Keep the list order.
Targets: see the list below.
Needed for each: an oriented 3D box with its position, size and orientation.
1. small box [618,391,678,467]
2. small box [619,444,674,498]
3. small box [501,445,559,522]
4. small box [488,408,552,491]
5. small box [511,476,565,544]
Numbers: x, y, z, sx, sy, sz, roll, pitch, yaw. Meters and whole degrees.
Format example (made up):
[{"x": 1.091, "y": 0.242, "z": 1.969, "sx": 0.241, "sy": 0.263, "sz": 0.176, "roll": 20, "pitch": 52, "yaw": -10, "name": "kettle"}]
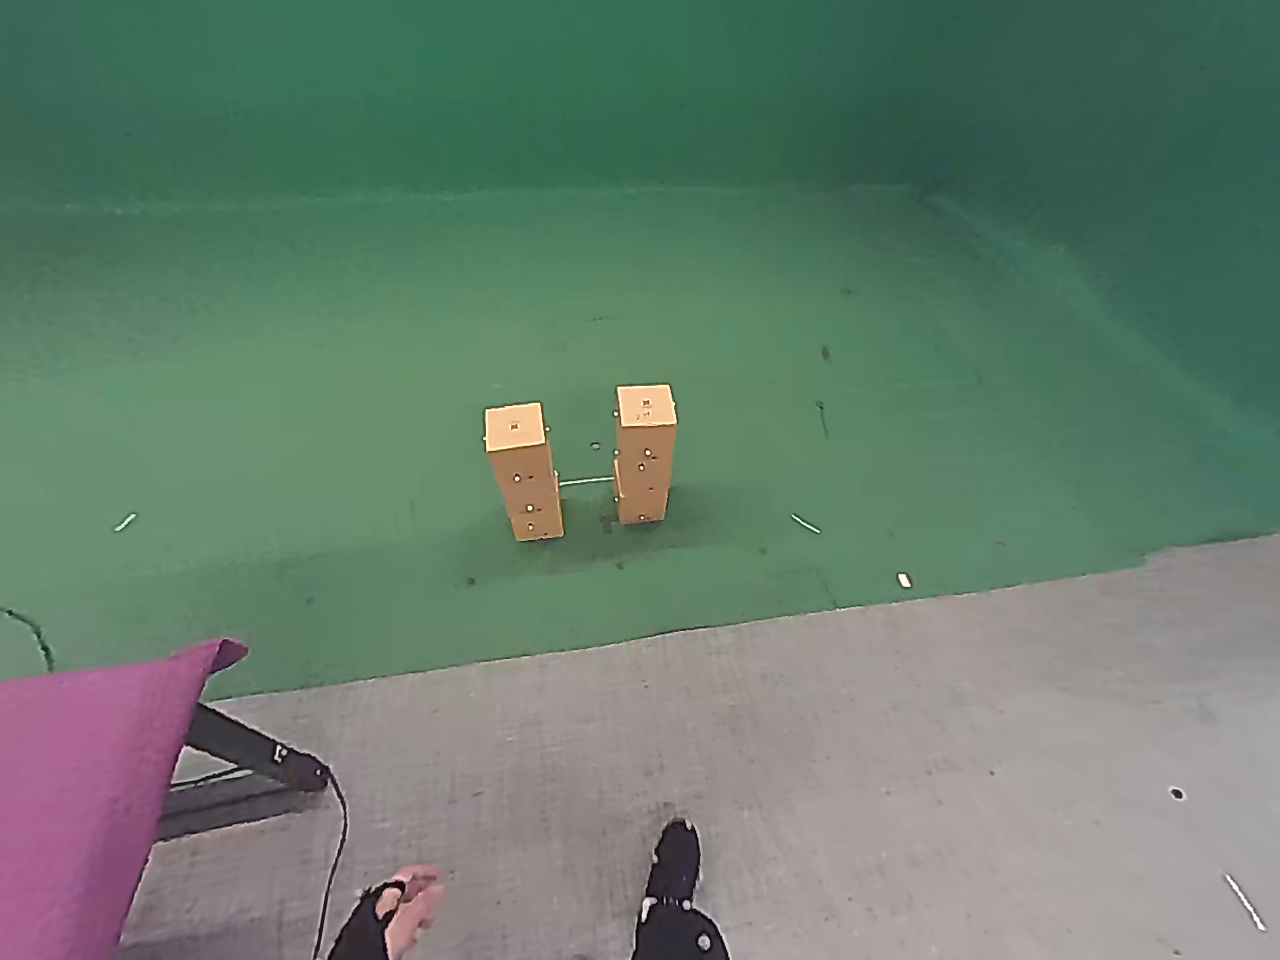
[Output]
[{"x": 0.020, "y": -0.159, "z": 1.692, "sx": 0.168, "sy": 0.176, "sz": 0.179, "roll": -3, "pitch": 52, "yaw": -5, "name": "small box"}, {"x": 0.016, "y": -0.058, "z": 1.822, "sx": 0.168, "sy": 0.176, "sz": 0.179, "roll": -3, "pitch": 51, "yaw": -5, "name": "small box"}, {"x": -0.357, "y": 0.012, "z": 1.752, "sx": 0.168, "sy": 0.176, "sz": 0.179, "roll": -8, "pitch": 52, "yaw": -8, "name": "small box"}, {"x": -0.359, "y": -0.090, "z": 1.625, "sx": 0.168, "sy": 0.176, "sz": 0.179, "roll": -9, "pitch": 51, "yaw": -8, "name": "small box"}, {"x": -0.354, "y": 0.110, "z": 1.884, "sx": 0.168, "sy": 0.176, "sz": 0.179, "roll": -6, "pitch": 50, "yaw": -6, "name": "small box"}]
